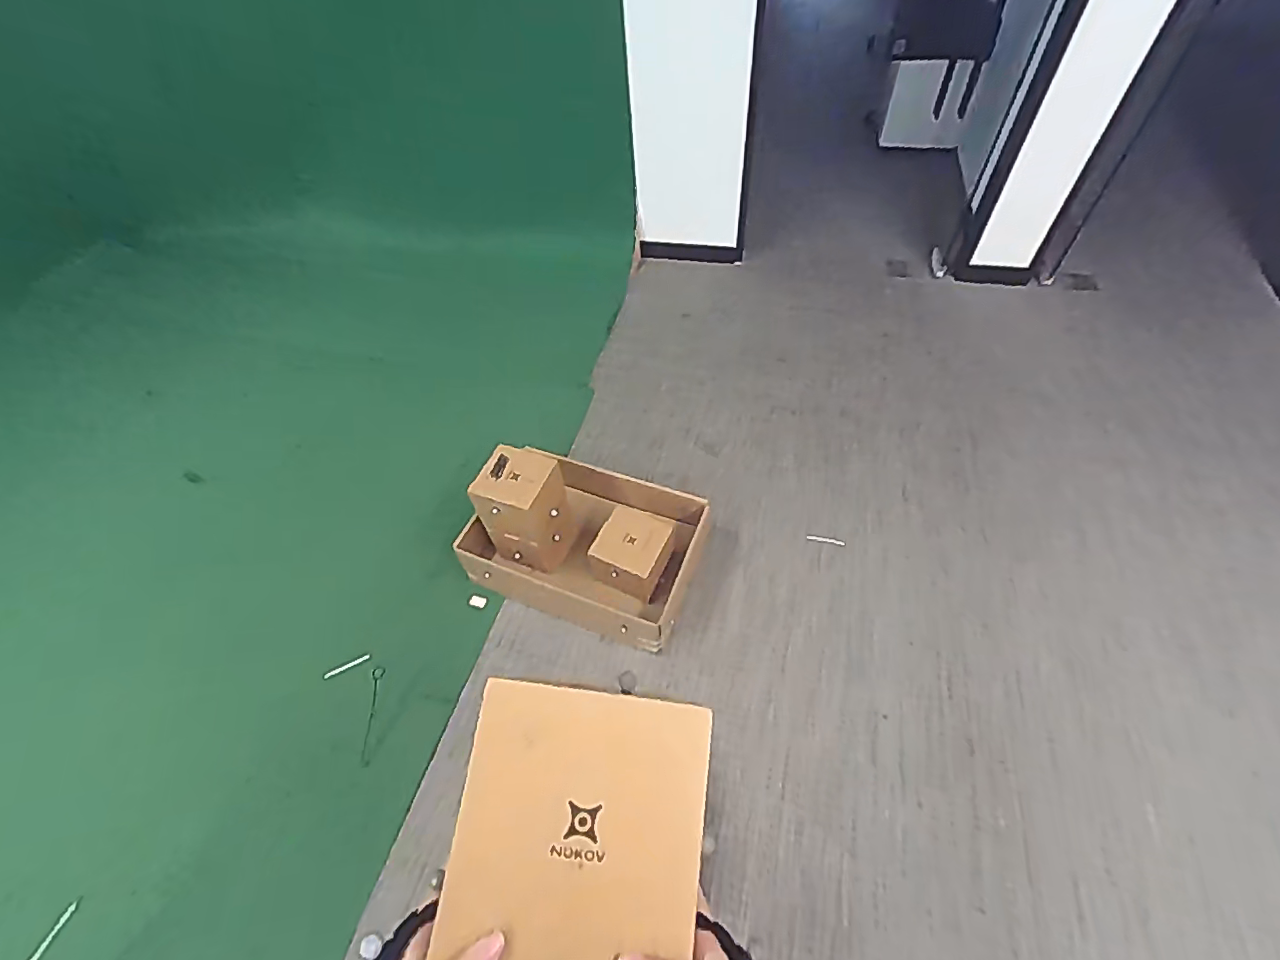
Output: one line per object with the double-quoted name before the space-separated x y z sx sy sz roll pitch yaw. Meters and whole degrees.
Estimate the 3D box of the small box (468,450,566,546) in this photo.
"small box" -0.313 0.051 1.418 0.179 0.176 0.168 16 55 14

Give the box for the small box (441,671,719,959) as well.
"small box" -0.042 0.259 0.443 0.168 0.176 0.179 10 72 -3
